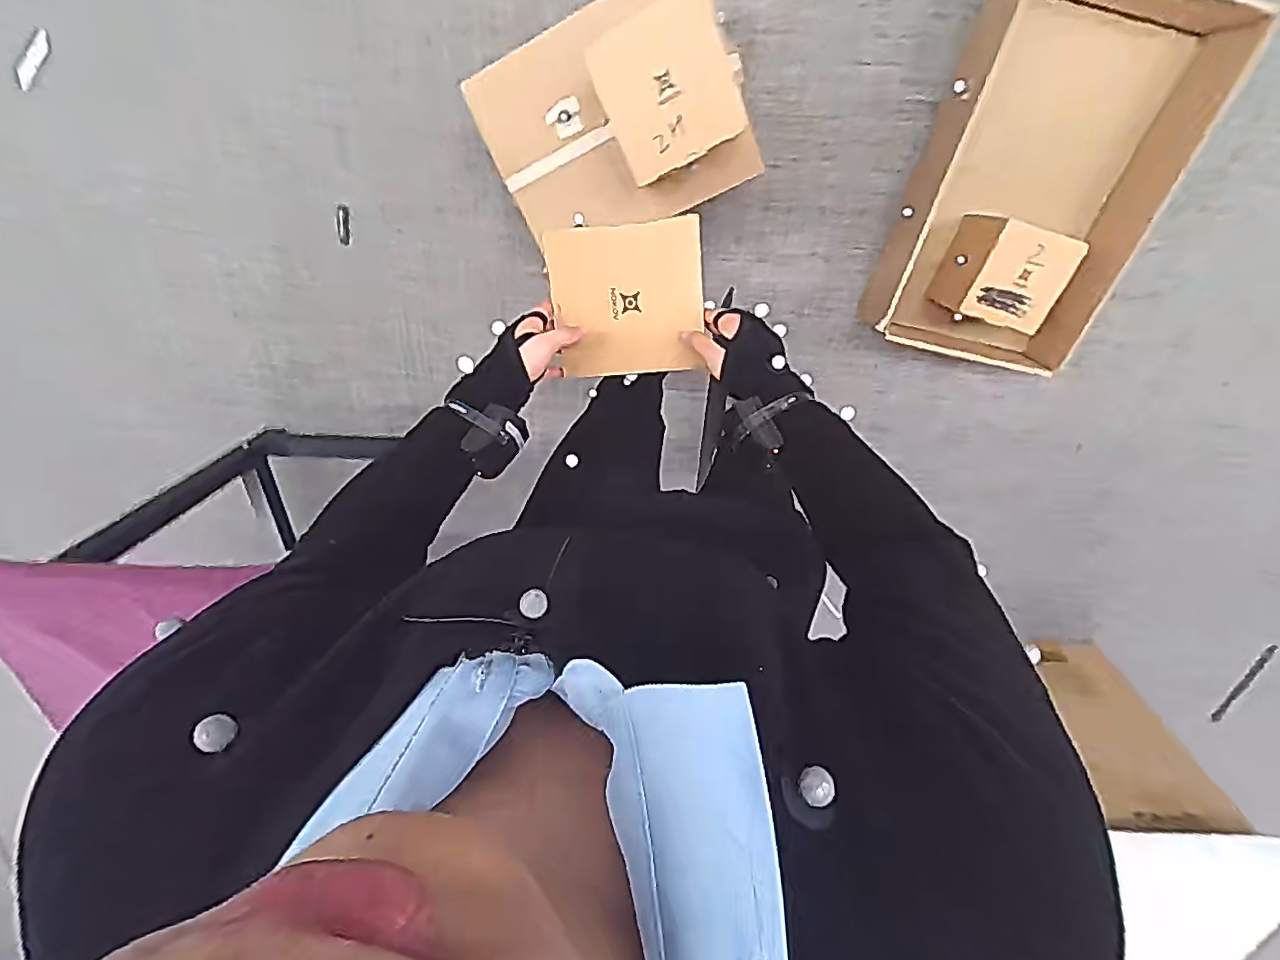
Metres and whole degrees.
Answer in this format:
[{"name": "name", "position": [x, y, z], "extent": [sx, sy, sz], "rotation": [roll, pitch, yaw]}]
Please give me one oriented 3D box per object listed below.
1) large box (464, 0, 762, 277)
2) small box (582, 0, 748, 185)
[{"name": "large box", "position": [-0.030, -0.632, 0.998], "extent": [0.408, 0.320, 0.320], "rotation": [-20, 115, 15]}, {"name": "small box", "position": [0.038, -0.541, 0.761], "extent": [0.168, 0.176, 0.179], "rotation": [-21, 116, 16]}]
